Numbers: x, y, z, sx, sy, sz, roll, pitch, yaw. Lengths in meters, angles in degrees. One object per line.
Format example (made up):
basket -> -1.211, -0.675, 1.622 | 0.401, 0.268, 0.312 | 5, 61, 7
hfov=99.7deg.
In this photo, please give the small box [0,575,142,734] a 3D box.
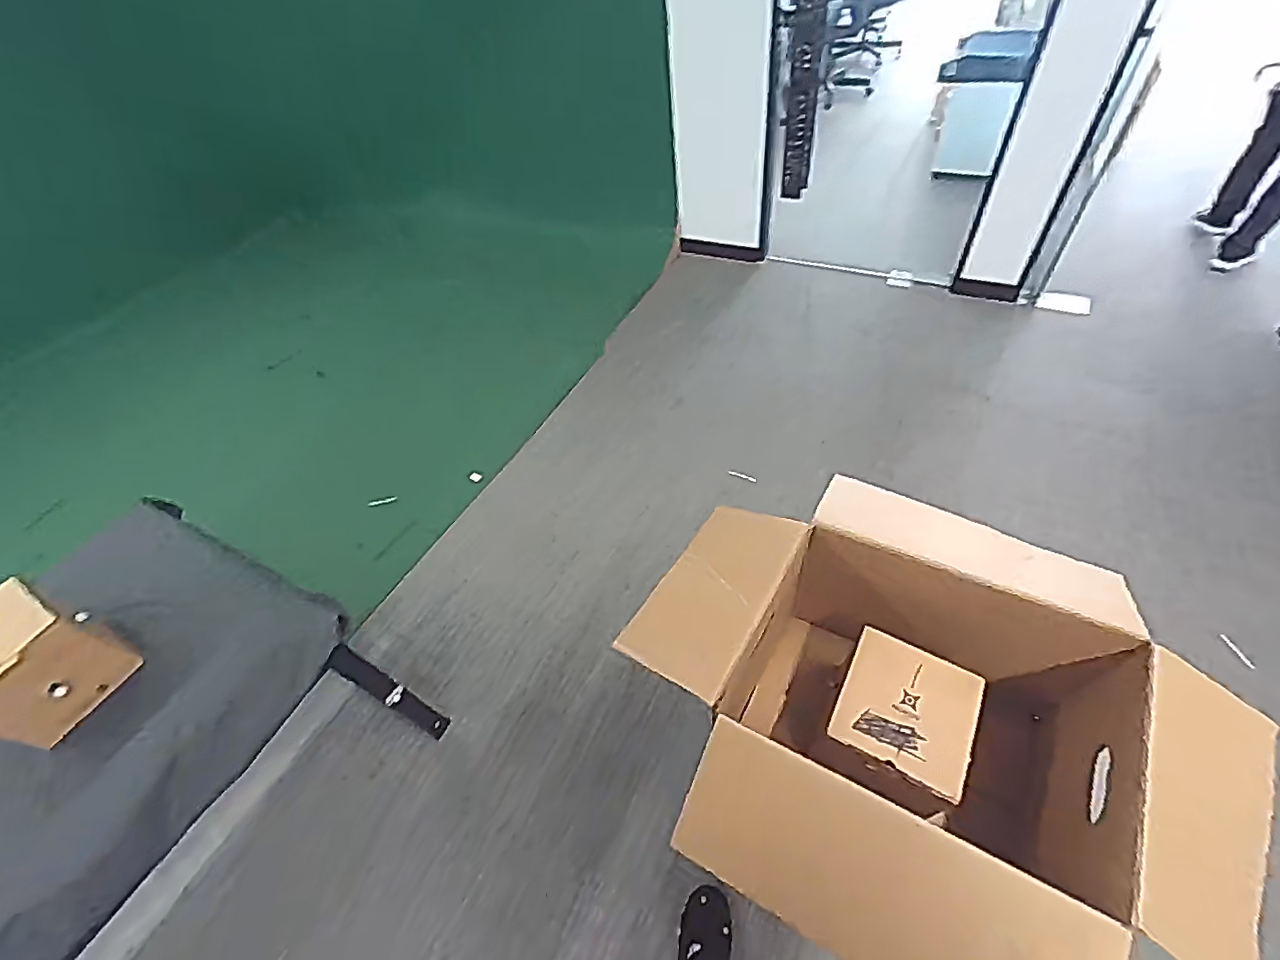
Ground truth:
small box -> -0.990, 0.291, 0.885 | 0.179, 0.176, 0.168 | 21, 57, 22
